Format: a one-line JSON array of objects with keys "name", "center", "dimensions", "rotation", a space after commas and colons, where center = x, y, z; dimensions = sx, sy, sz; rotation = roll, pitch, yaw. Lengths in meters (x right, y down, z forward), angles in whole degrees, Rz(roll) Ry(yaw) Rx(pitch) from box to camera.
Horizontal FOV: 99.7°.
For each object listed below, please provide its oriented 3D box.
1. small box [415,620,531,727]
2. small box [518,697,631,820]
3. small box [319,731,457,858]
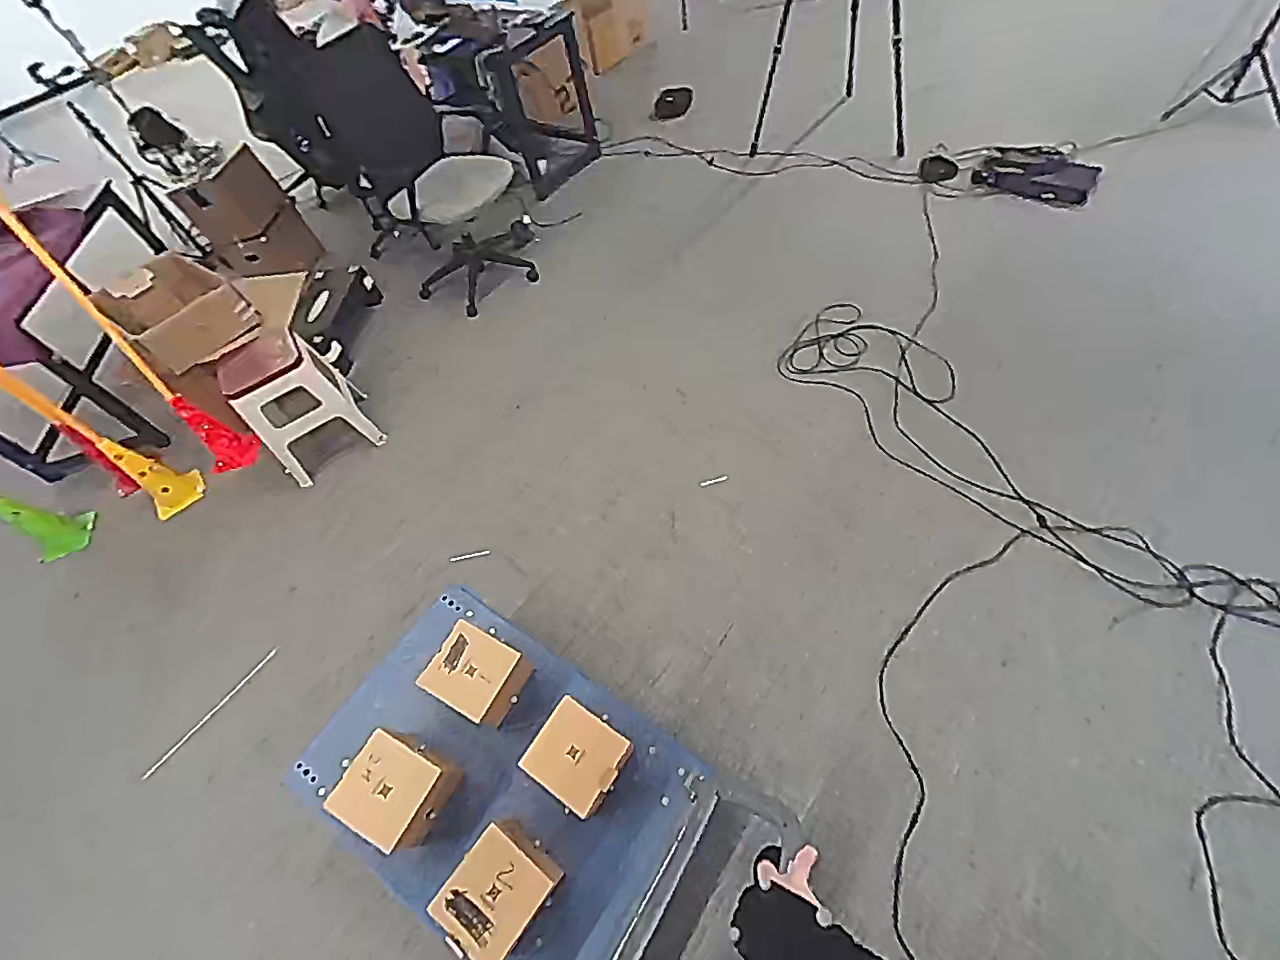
[{"name": "small box", "center": [-0.380, 0.458, 1.260], "dimensions": [0.179, 0.176, 0.168], "rotation": [26, 64, 13]}, {"name": "small box", "center": [-0.137, 0.608, 1.179], "dimensions": [0.179, 0.176, 0.168], "rotation": [31, 65, 15]}, {"name": "small box", "center": [-0.519, 0.658, 1.146], "dimensions": [0.179, 0.176, 0.168], "rotation": [26, 63, 13]}]
